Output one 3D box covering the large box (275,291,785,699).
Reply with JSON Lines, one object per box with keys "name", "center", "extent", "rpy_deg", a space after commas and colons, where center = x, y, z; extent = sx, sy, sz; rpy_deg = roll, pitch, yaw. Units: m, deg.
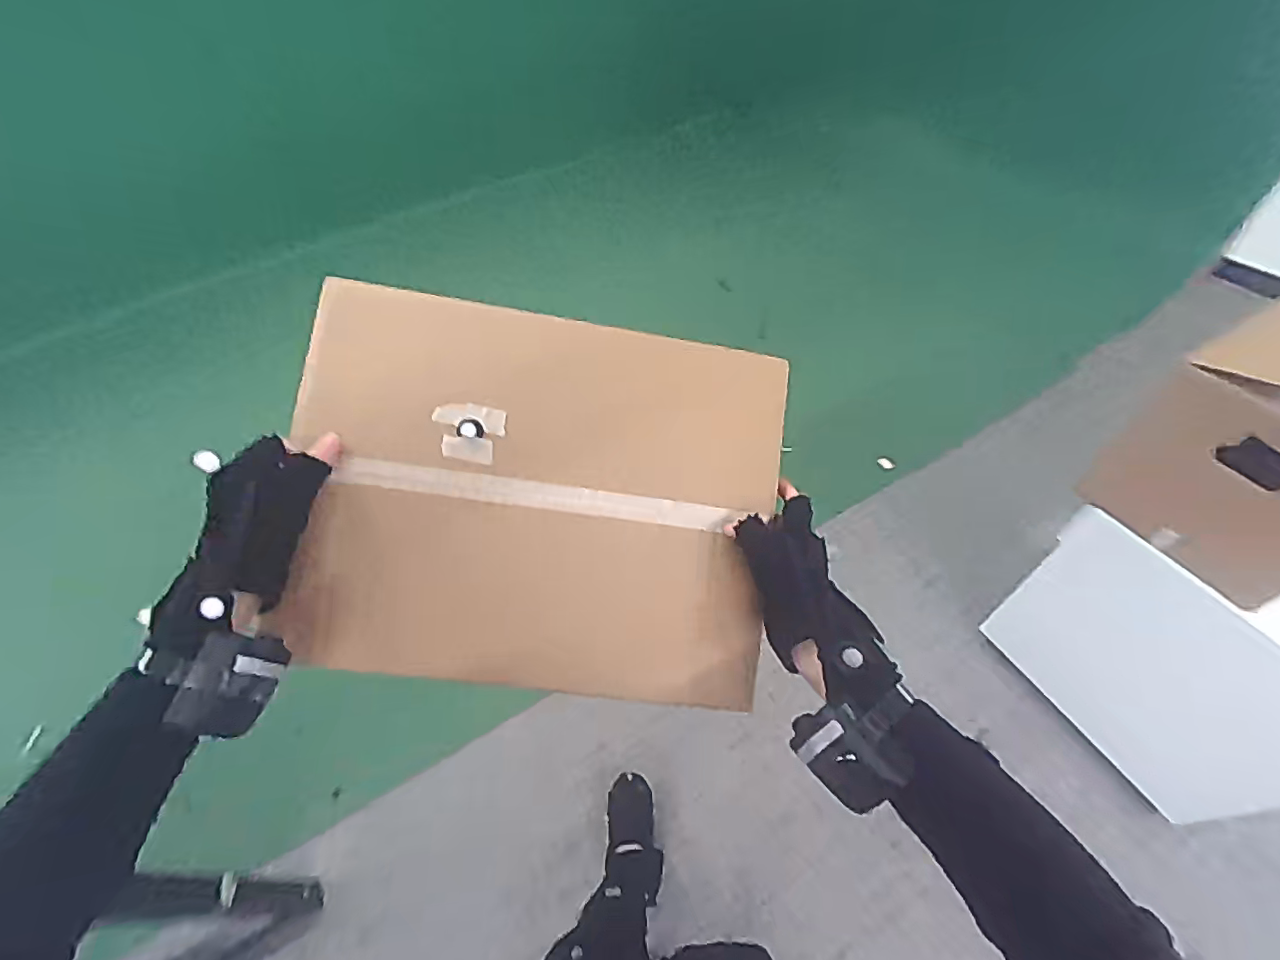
{"name": "large box", "center": [-0.092, 0.026, 0.612], "extent": [0.408, 0.320, 0.320], "rpy_deg": [9, 83, -5]}
